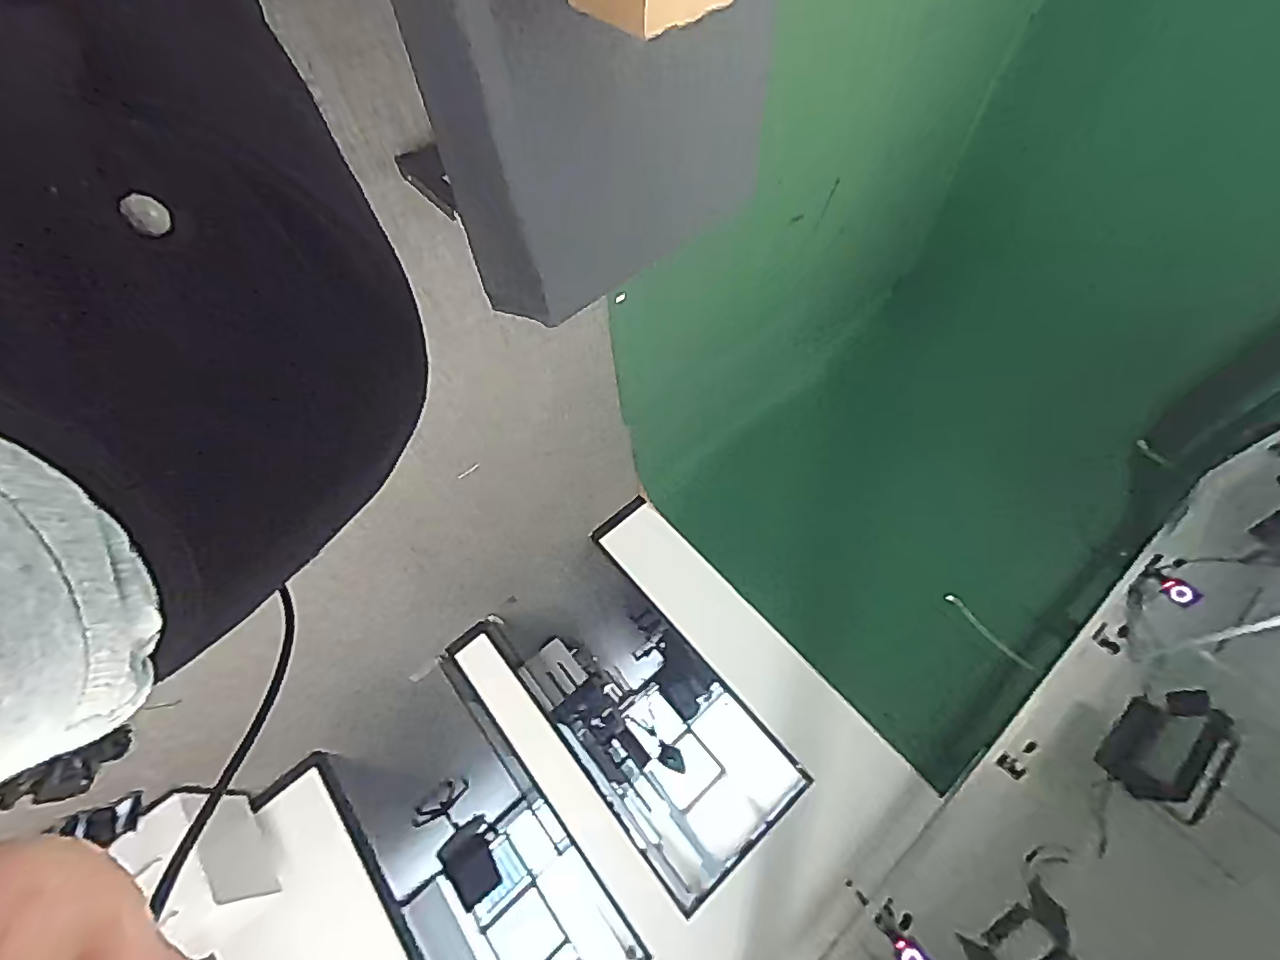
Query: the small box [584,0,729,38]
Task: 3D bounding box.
[{"bbox_3d":[0.009,-0.708,0.676,0.168,0.176,0.179,-38,156,-18],"label":"small box"}]
